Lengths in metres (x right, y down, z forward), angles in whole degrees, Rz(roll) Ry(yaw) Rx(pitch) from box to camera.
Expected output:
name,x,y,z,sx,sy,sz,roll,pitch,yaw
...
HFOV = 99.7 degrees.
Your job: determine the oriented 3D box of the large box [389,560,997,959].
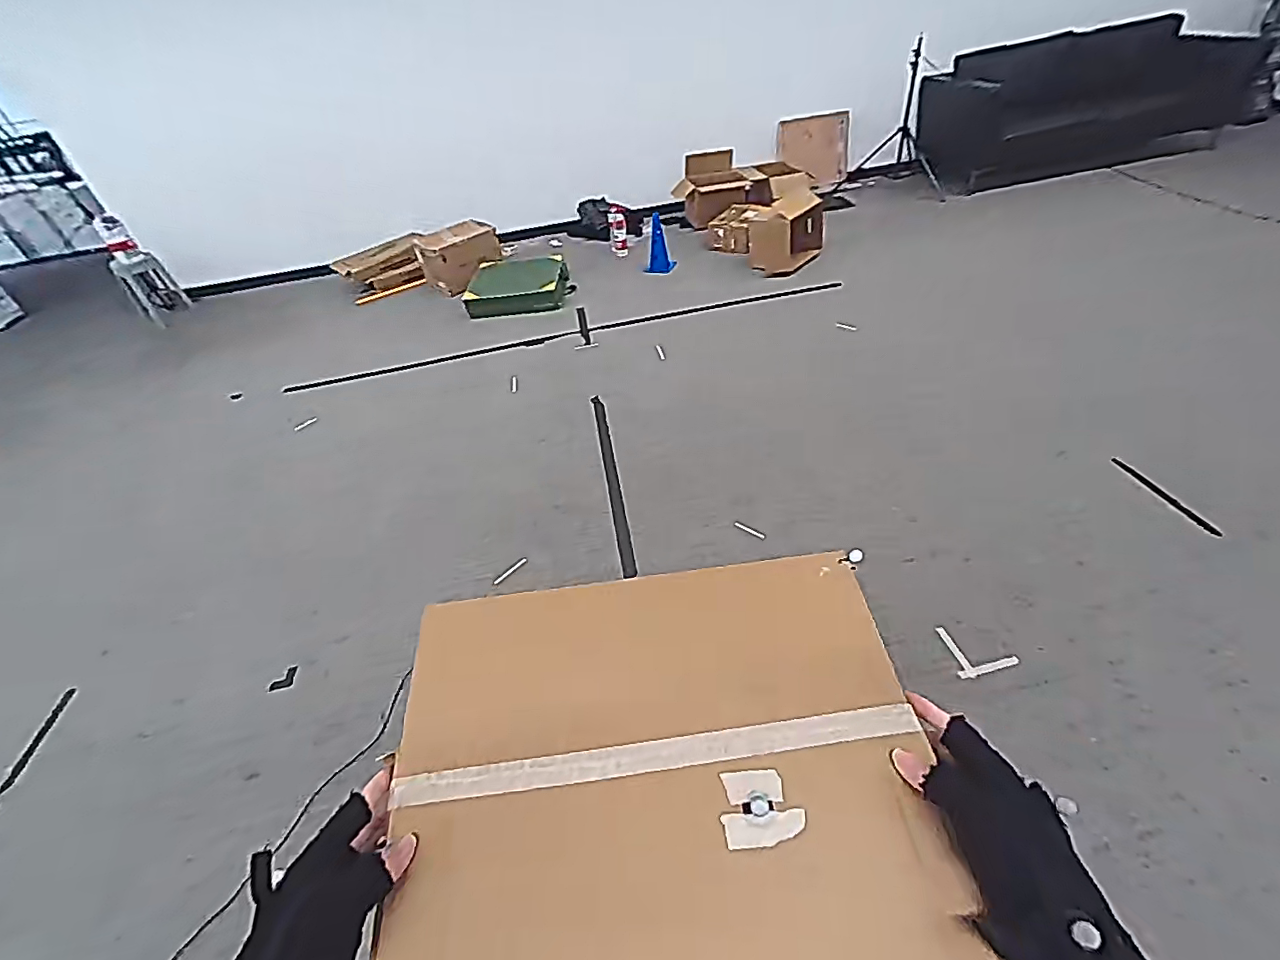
name,x,y,z,sx,sy,sz,roll,pitch,yaw
large box,0.024,0.317,0.545,0.408,0.320,0.320,-7,50,-2
